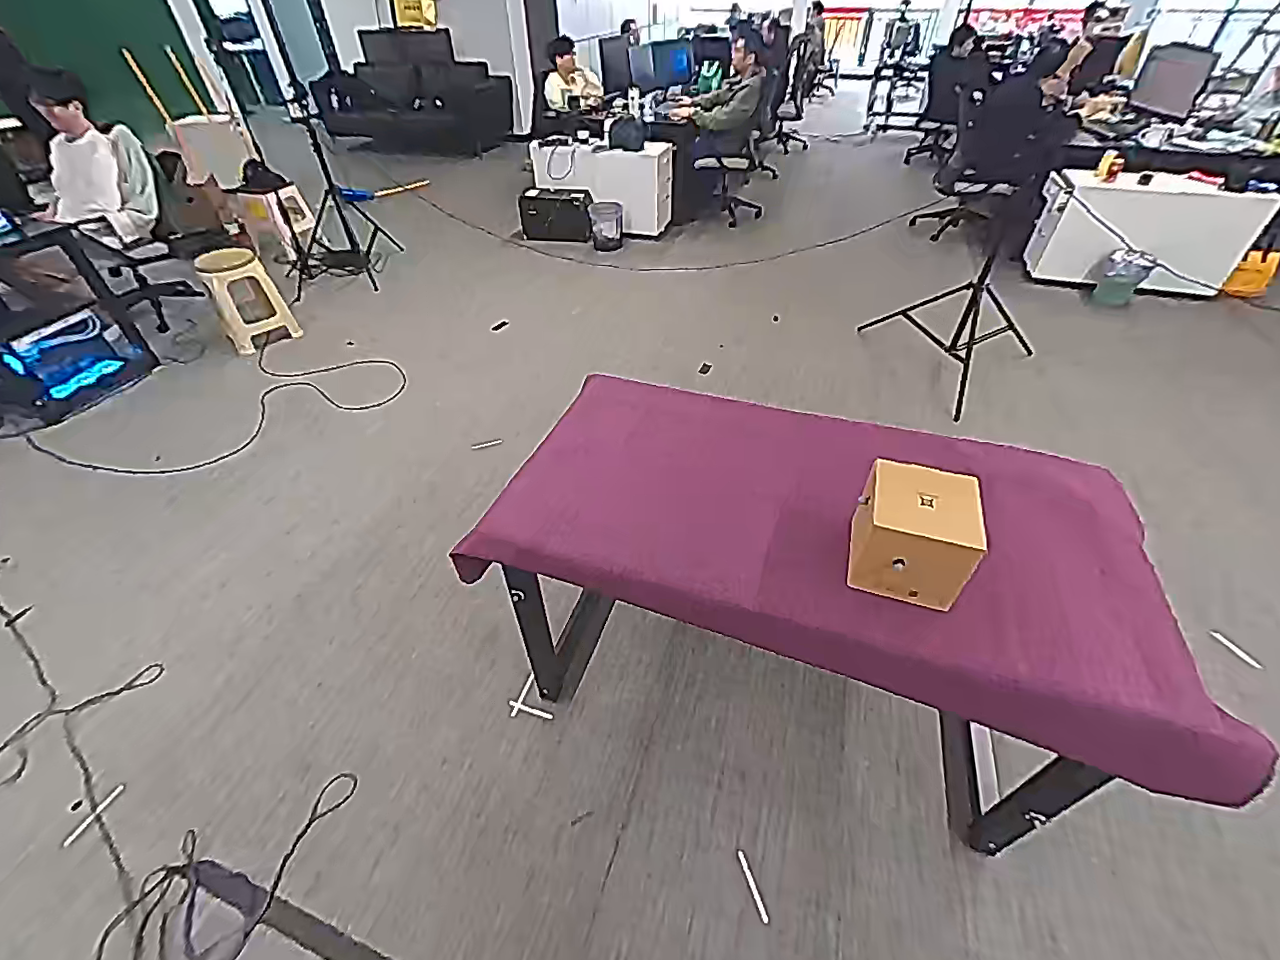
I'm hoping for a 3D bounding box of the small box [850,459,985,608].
[{"bbox_3d":[0.472,0.094,0.941,0.168,0.176,0.179,13,43,15],"label":"small box"}]
